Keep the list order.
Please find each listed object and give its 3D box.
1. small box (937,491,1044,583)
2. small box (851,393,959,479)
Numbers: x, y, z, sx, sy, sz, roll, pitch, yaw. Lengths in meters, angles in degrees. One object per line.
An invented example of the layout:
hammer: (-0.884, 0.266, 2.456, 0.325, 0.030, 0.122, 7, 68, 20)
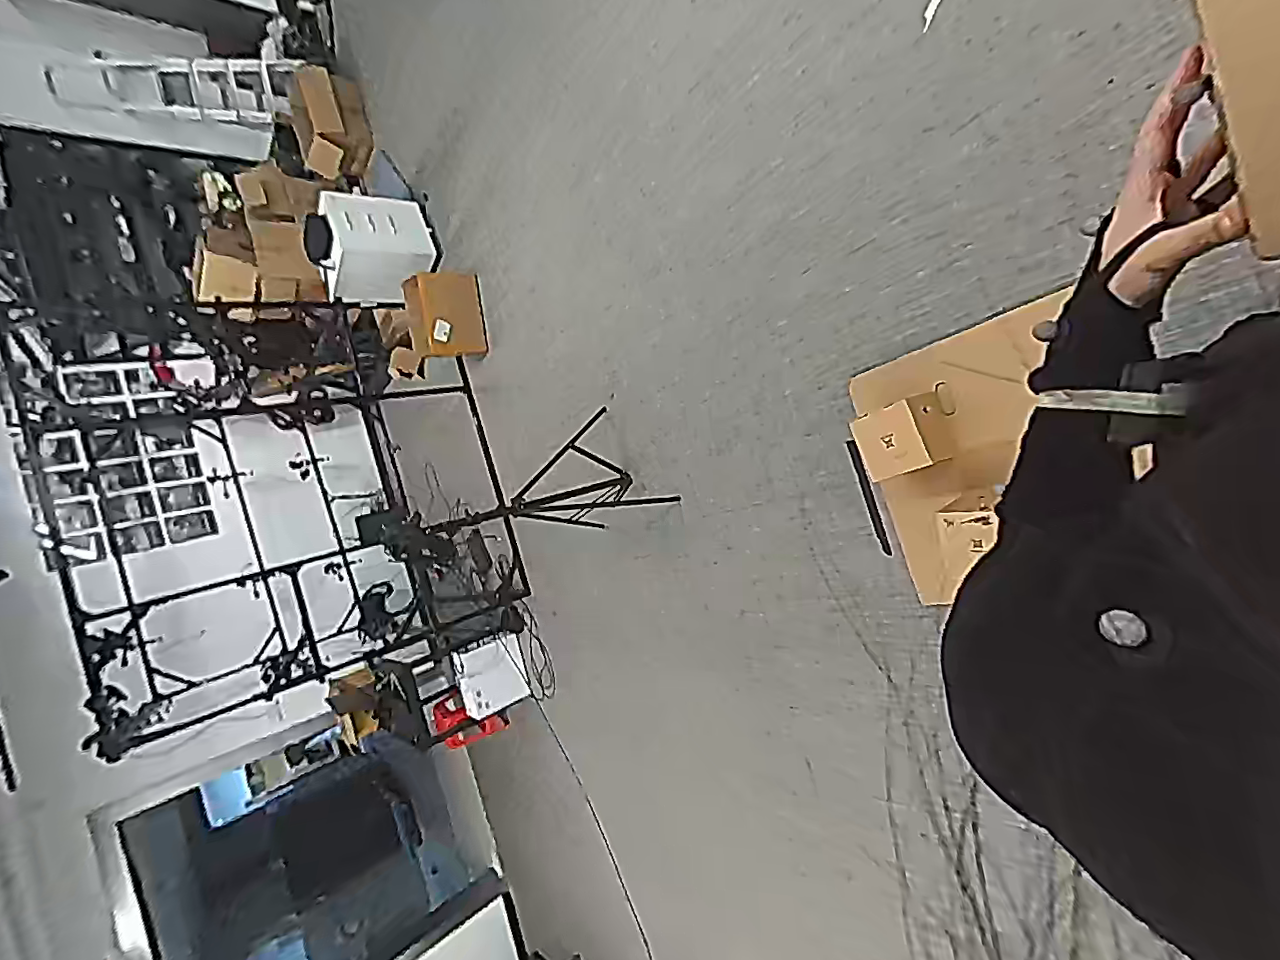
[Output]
small box: (0.853, 0.133, 1.311, 0.168, 0.176, 0.179, -6, 99, 50)
small box: (0.696, -0.119, 1.418, 0.168, 0.176, 0.179, -28, 80, 52)
